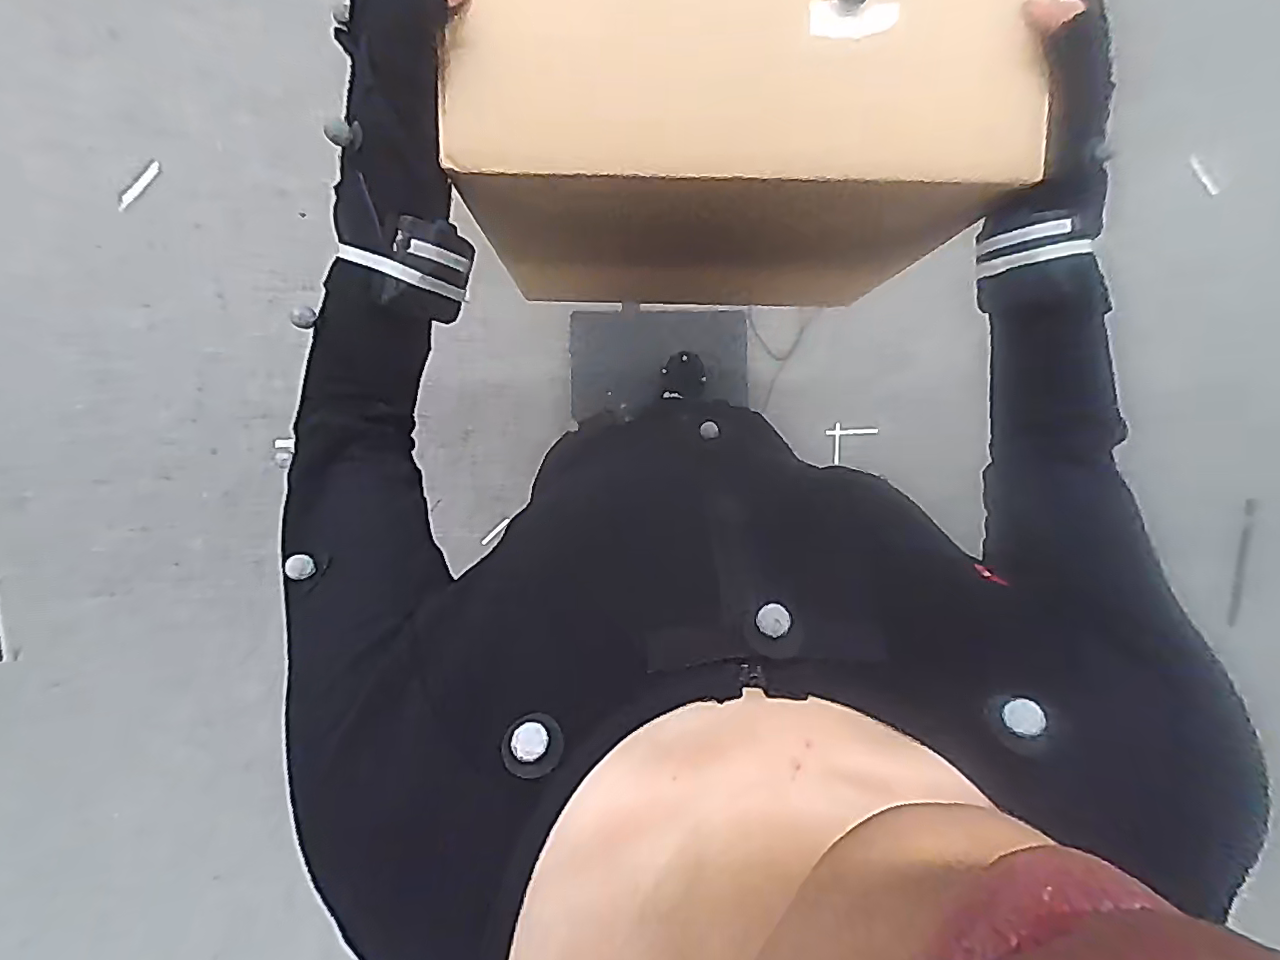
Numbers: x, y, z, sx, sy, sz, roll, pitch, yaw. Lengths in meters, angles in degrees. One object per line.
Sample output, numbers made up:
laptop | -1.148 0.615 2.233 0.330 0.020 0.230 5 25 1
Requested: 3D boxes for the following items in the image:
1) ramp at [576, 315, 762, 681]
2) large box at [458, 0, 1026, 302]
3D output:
ramp | 0.073 0.036 1.487 0.509 0.206 0.991 -3 96 1
large box | 0.066 -0.372 0.522 0.408 0.320 0.320 0 93 -2
